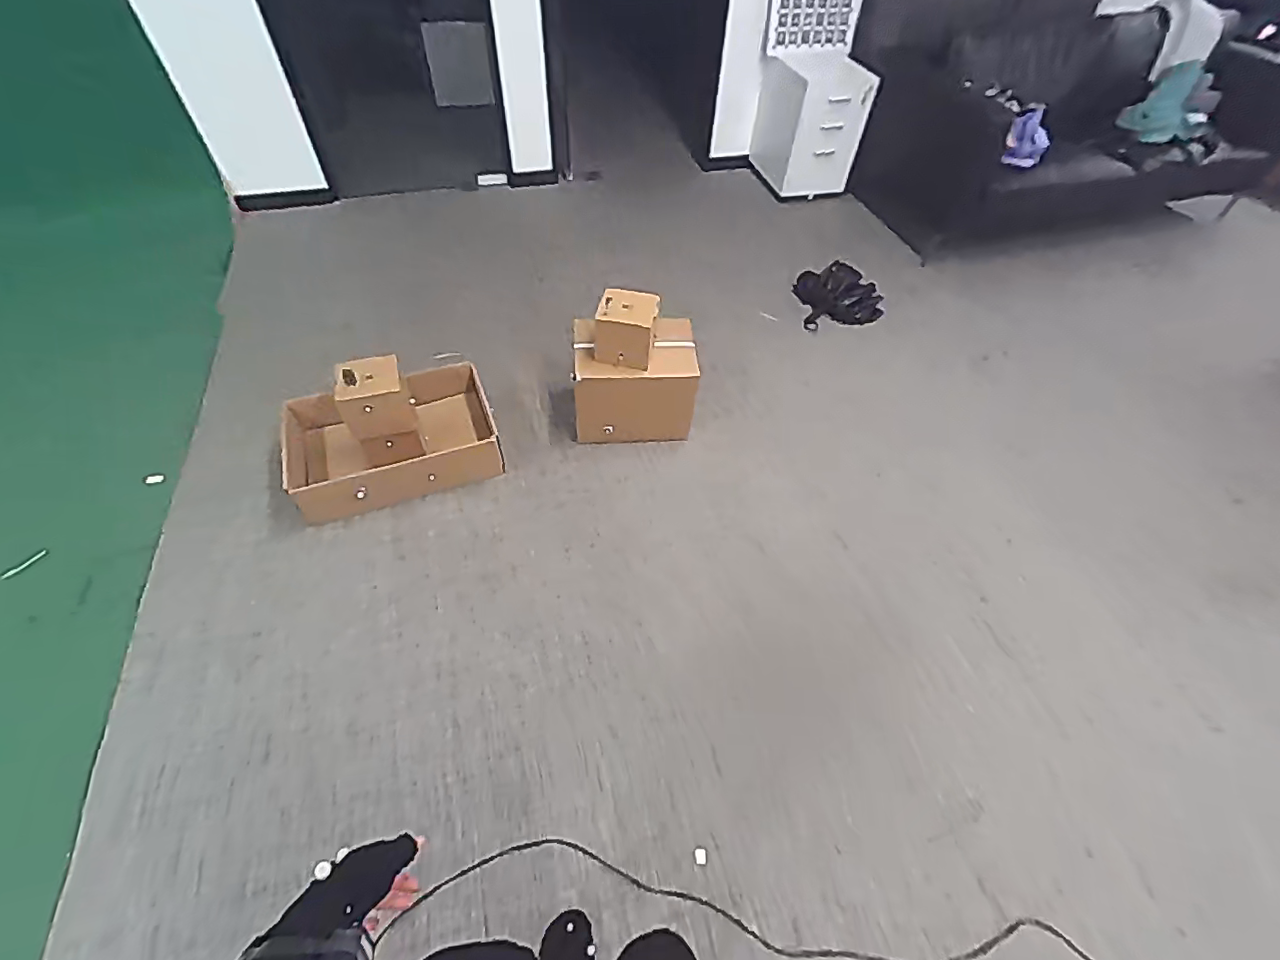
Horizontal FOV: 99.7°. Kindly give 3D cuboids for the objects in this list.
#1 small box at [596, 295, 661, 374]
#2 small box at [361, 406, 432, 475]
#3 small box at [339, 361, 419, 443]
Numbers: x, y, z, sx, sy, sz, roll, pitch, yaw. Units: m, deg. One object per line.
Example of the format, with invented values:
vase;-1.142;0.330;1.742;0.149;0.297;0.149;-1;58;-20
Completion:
small box;-0.037;-0.460;1.730;0.179;0.176;0.168;11;52;4
small box;-0.799;-0.137;1.768;0.179;0.176;0.168;-15;54;-17
small box;-0.785;-0.230;1.632;0.179;0.176;0.168;-13;54;-15
